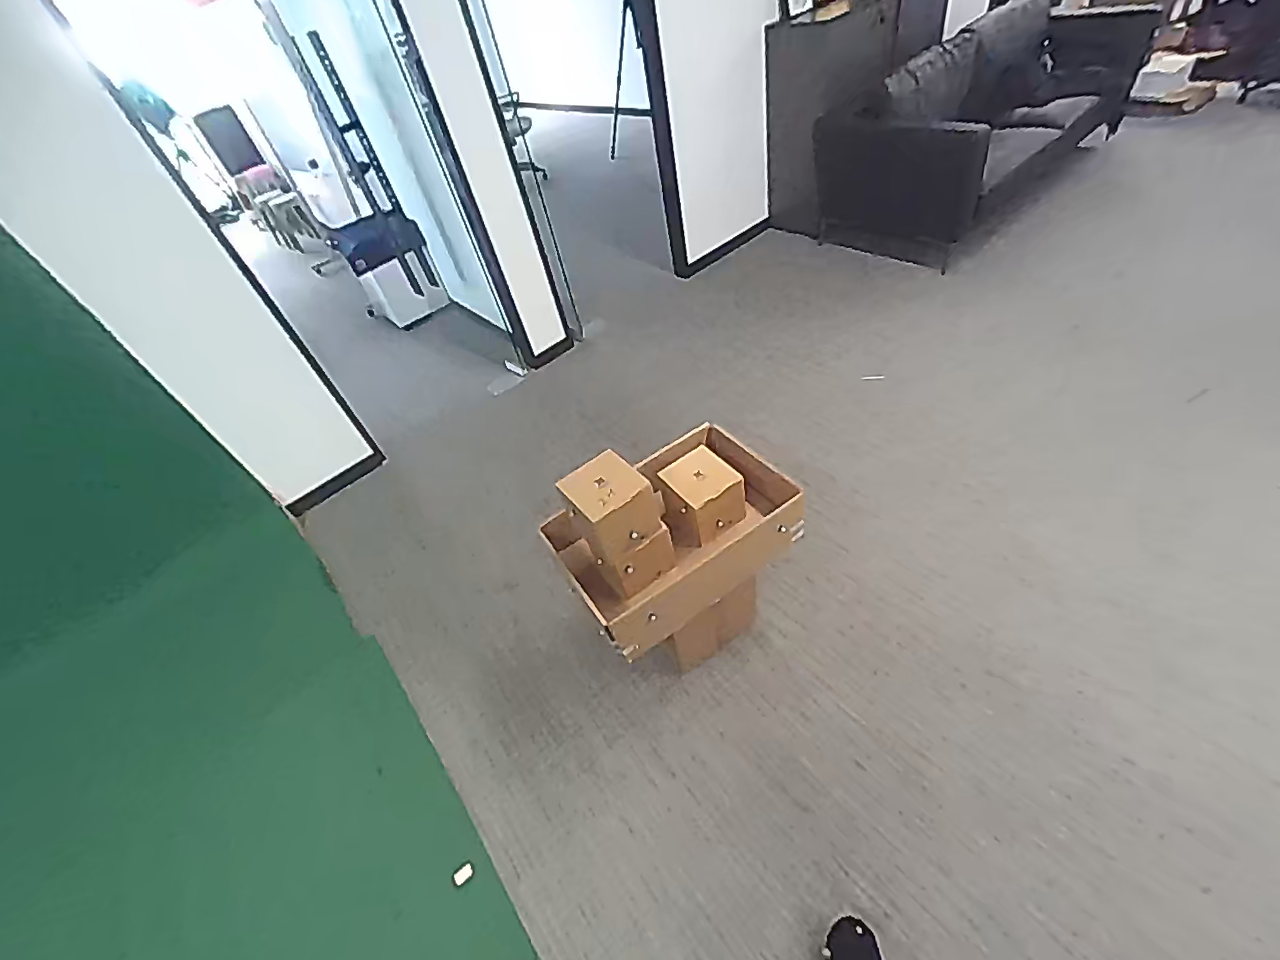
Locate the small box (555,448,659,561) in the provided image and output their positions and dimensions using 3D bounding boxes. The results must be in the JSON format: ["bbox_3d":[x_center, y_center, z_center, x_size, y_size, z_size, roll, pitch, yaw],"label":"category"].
[{"bbox_3d":[-0.076,0.061,1.305,0.168,0.176,0.179,-34,50,-18],"label":"small box"}]
